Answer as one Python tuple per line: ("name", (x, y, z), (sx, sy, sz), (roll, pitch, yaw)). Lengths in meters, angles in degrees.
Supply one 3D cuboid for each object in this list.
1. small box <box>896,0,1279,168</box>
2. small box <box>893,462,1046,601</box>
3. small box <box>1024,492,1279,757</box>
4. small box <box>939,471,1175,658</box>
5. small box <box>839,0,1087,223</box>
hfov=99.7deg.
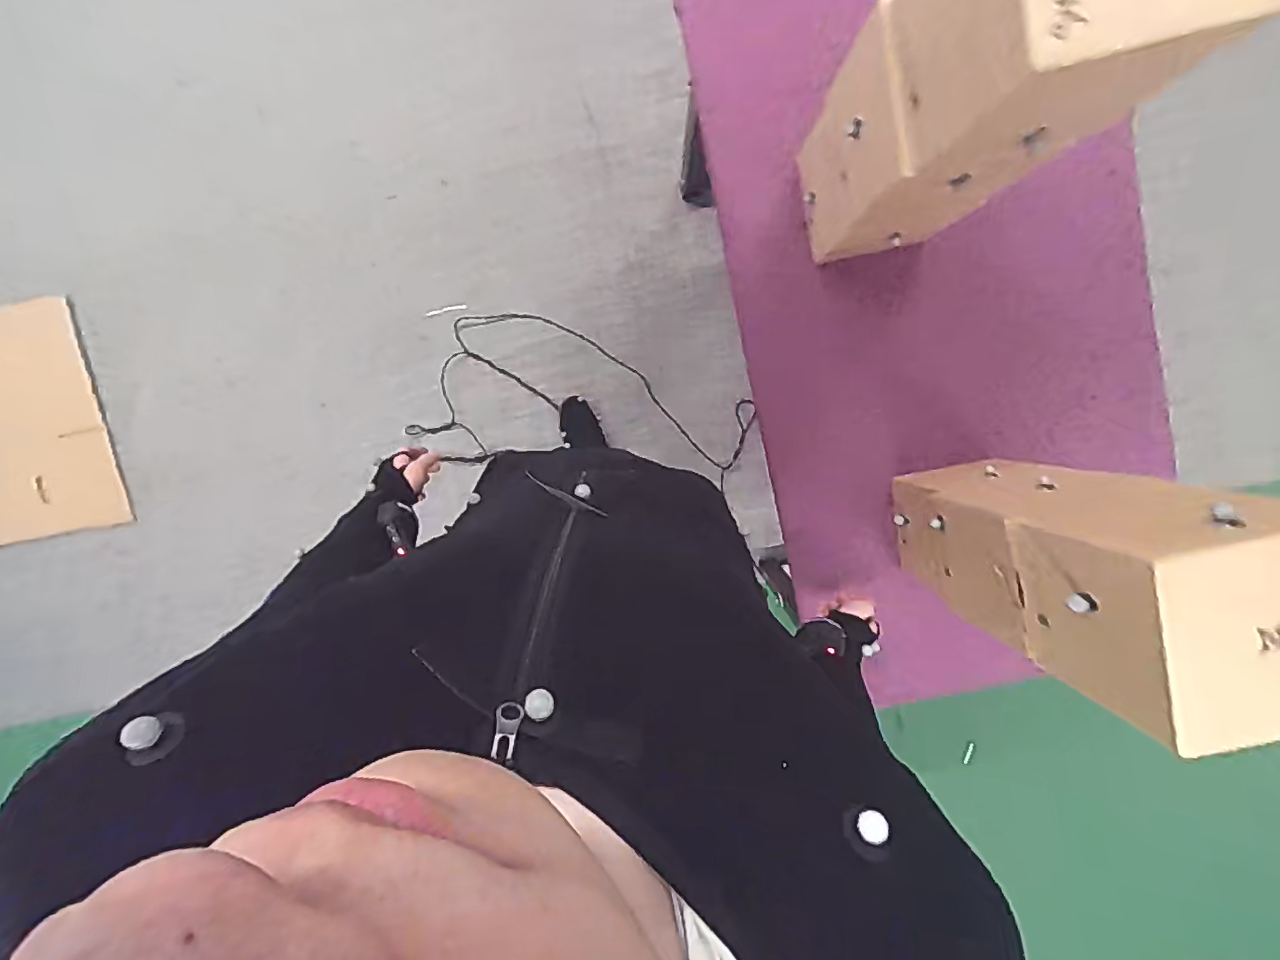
("small box", (0.333, -0.379, 0.424), (0.179, 0.176, 0.168), (-12, 97, 3))
("small box", (0.510, 0.070, 0.813), (0.179, 0.176, 0.168), (-10, 96, 3))
("small box", (0.488, 0.113, 0.491), (0.179, 0.176, 0.168), (-12, 96, 2))
("small box", (0.489, 0.090, 0.651), (0.179, 0.176, 0.168), (-13, 96, 2))
("small box", (0.329, -0.400, 0.587), (0.179, 0.176, 0.168), (-10, 98, 3))
